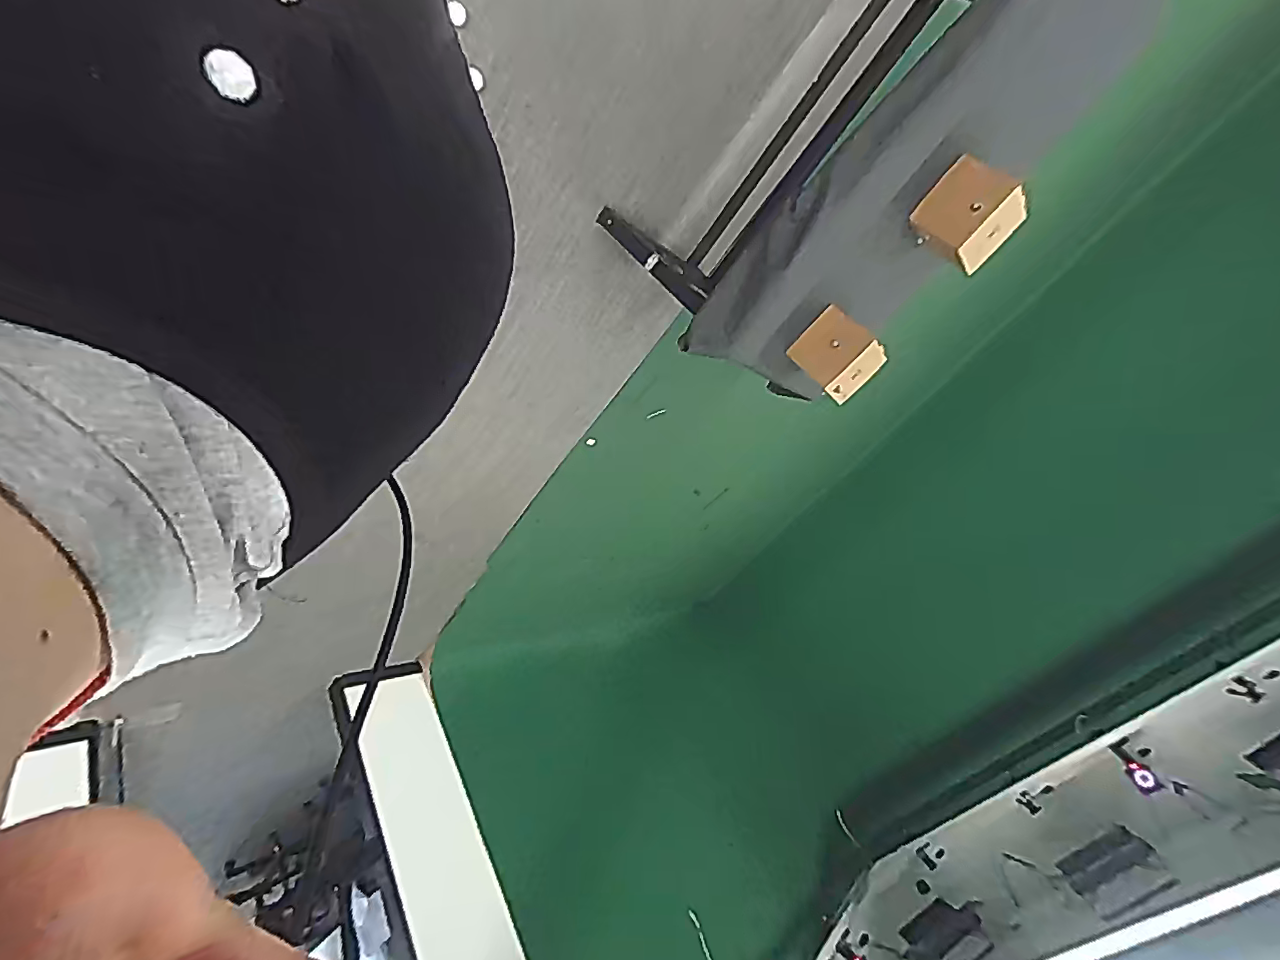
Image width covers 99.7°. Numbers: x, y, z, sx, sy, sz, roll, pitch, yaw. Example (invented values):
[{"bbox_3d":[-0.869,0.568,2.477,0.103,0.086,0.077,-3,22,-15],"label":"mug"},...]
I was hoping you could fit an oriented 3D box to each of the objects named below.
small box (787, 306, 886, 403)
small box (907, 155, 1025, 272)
[{"bbox_3d":[0.546,-0.351,1.507,0.179,0.176,0.168,-48,148,18],"label":"small box"},{"bbox_3d":[0.806,-0.661,1.342,0.168,0.176,0.179,8,130,-49],"label":"small box"}]
